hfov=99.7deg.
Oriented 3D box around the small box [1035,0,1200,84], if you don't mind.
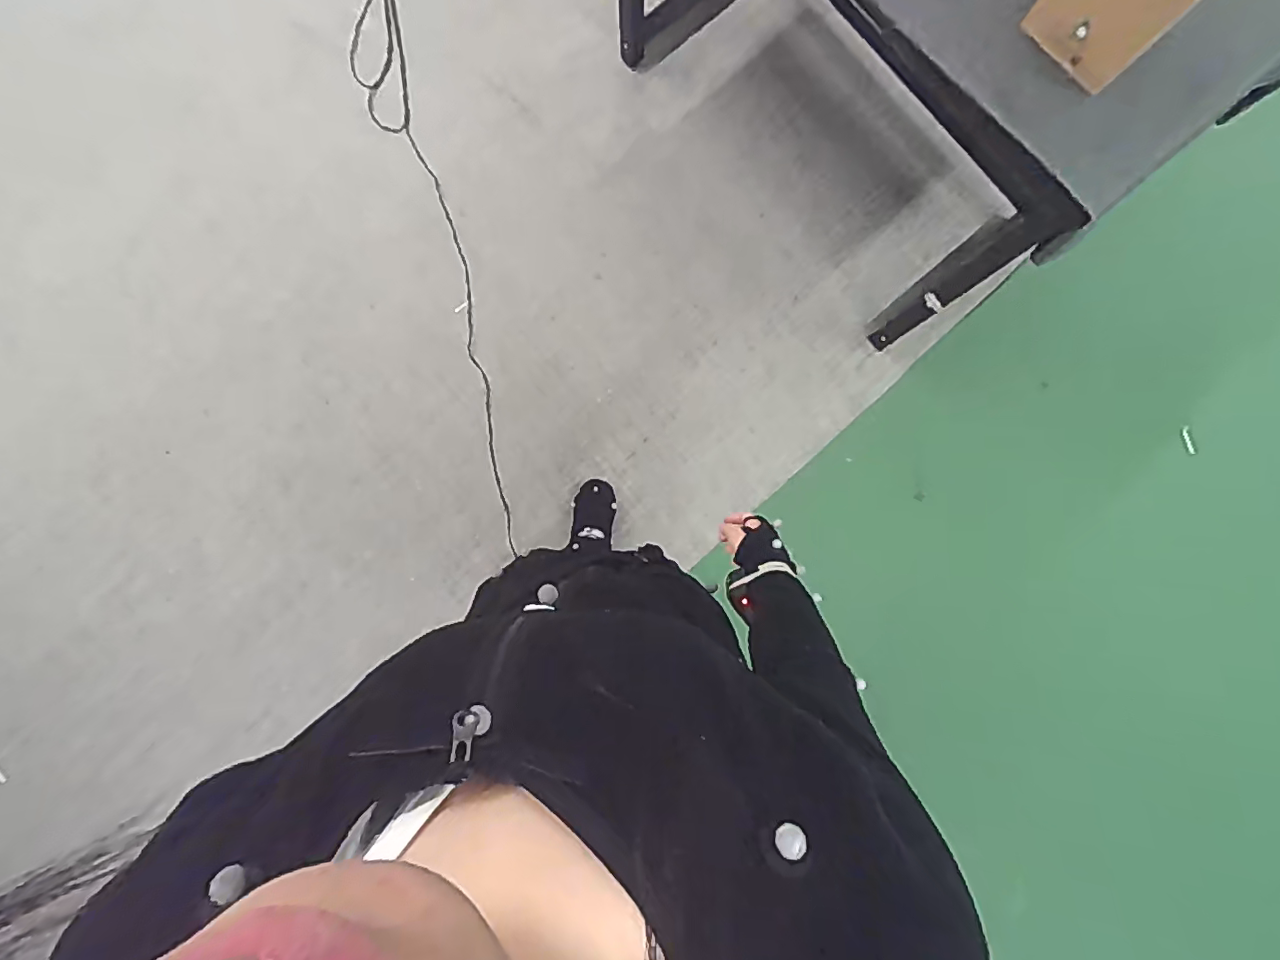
[{"bbox_3d":[0.721,-0.725,0.761,0.179,0.176,0.168,-42,86,-3],"label":"small box"}]
